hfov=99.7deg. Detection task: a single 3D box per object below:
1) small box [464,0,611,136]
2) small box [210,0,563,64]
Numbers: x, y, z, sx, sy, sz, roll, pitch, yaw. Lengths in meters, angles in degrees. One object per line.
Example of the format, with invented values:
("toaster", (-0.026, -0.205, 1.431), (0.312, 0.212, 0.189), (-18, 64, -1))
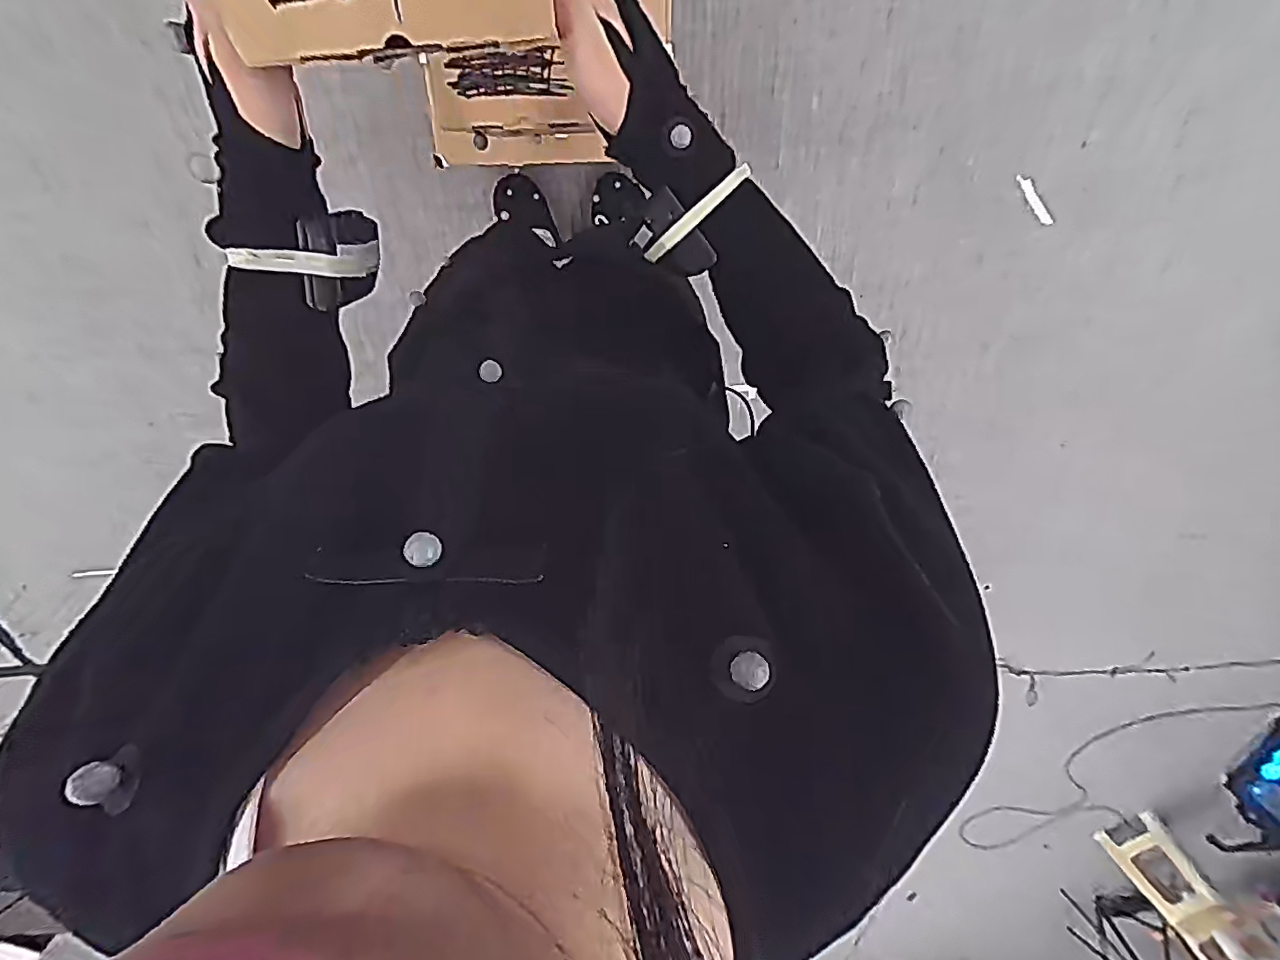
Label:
("small box", (-0.128, -0.542, 0.683), (0.168, 0.176, 0.179), (-5, 123, -3))
("small box", (-0.134, -0.337, 0.280), (0.168, 0.176, 0.179), (-5, 131, -1))
